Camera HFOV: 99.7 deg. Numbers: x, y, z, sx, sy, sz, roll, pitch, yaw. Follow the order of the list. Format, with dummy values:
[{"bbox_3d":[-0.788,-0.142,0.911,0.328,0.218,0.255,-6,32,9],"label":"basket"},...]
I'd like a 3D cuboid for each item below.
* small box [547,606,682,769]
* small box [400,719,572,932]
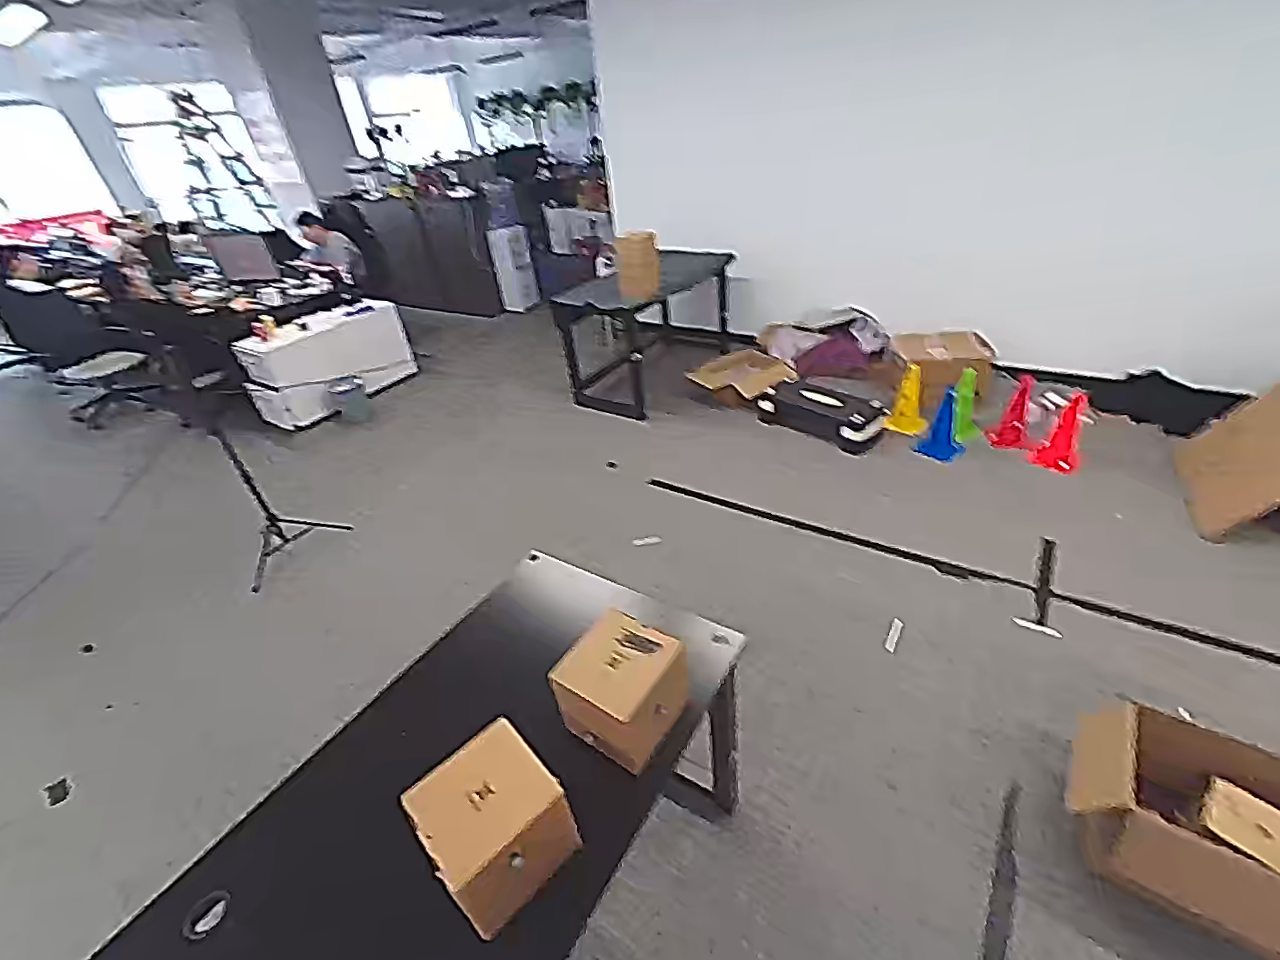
[{"bbox_3d":[-0.036,0.368,0.968,0.168,0.176,0.179,16,43,32],"label":"small box"},{"bbox_3d":[-0.218,0.510,0.807,0.179,0.176,0.168,-34,42,-31],"label":"small box"}]
